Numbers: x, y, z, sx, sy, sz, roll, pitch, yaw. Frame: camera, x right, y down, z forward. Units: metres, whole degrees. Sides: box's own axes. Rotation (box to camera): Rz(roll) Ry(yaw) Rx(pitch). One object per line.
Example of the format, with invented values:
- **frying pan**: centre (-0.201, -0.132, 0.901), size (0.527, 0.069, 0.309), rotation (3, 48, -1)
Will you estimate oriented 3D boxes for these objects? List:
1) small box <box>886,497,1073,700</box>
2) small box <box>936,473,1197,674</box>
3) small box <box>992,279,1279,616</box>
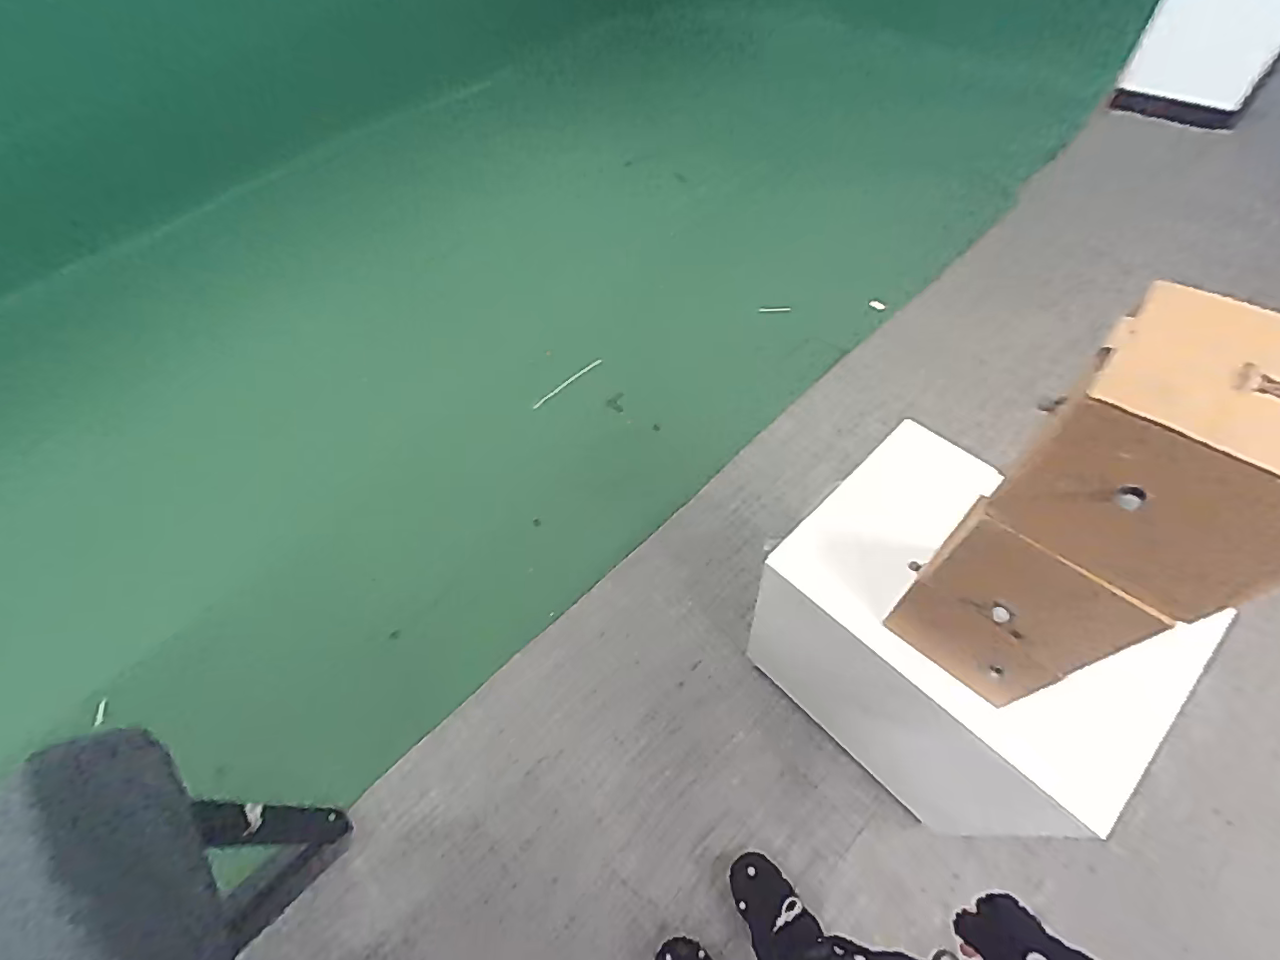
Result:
- **small box**: centre (0.458, 0.161, 0.704), size (0.179, 0.176, 0.168), rotation (36, 67, 28)
- **small box**: centre (0.449, 0.068, 0.569), size (0.168, 0.176, 0.179), rotation (35, 65, 26)
- **small box**: centre (0.429, -0.021, 0.434), size (0.179, 0.176, 0.168), rotation (36, 68, 27)
